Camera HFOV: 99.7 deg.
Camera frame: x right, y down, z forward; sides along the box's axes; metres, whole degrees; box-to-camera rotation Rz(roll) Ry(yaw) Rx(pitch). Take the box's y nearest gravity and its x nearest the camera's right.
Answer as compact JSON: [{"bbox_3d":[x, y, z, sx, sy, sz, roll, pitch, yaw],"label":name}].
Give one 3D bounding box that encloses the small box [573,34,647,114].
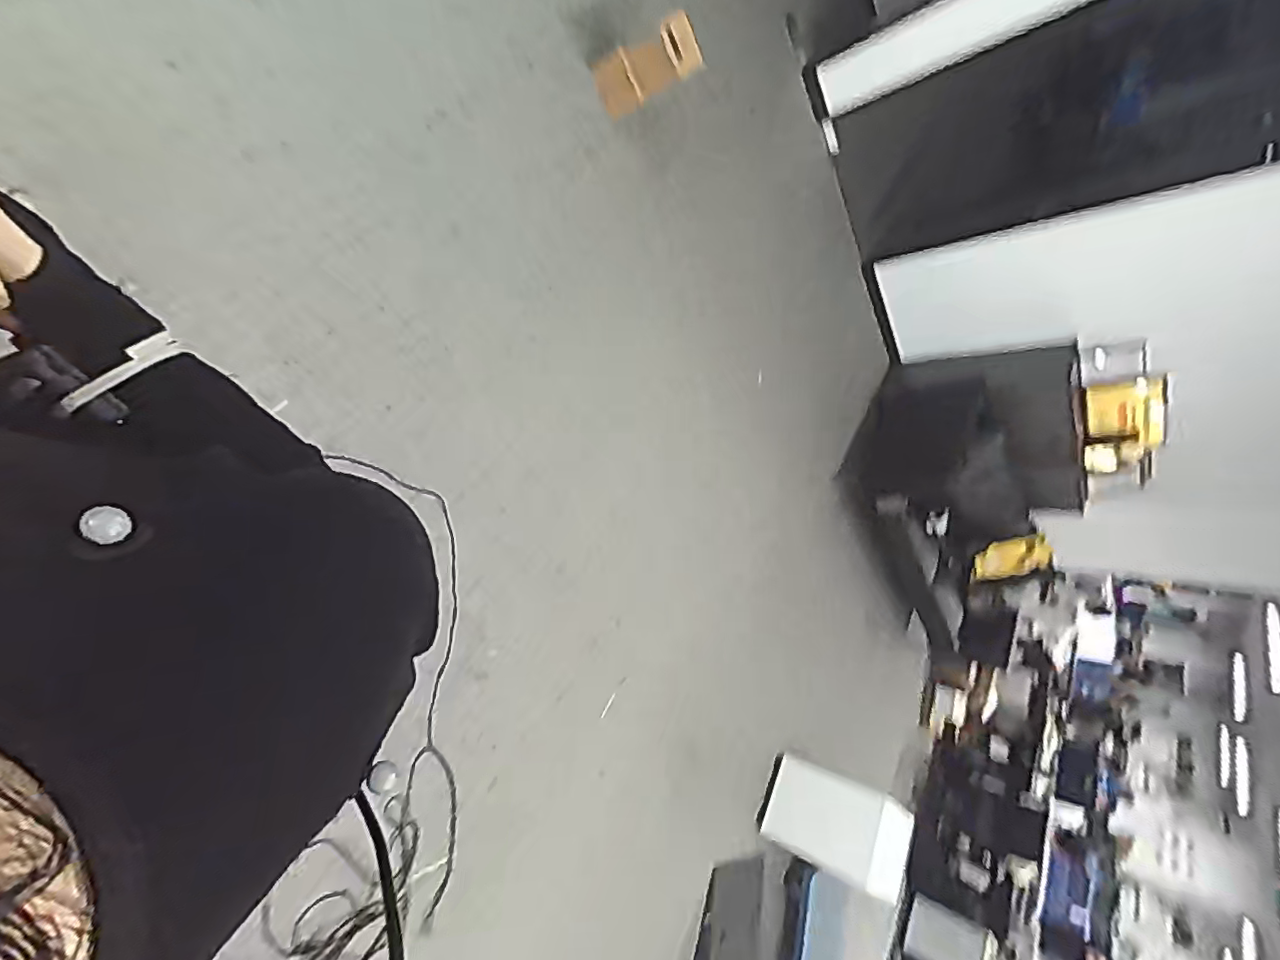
[{"bbox_3d":[-0.110,-1.476,1.970,0.179,0.176,0.168,-51,127,-32],"label":"small box"}]
